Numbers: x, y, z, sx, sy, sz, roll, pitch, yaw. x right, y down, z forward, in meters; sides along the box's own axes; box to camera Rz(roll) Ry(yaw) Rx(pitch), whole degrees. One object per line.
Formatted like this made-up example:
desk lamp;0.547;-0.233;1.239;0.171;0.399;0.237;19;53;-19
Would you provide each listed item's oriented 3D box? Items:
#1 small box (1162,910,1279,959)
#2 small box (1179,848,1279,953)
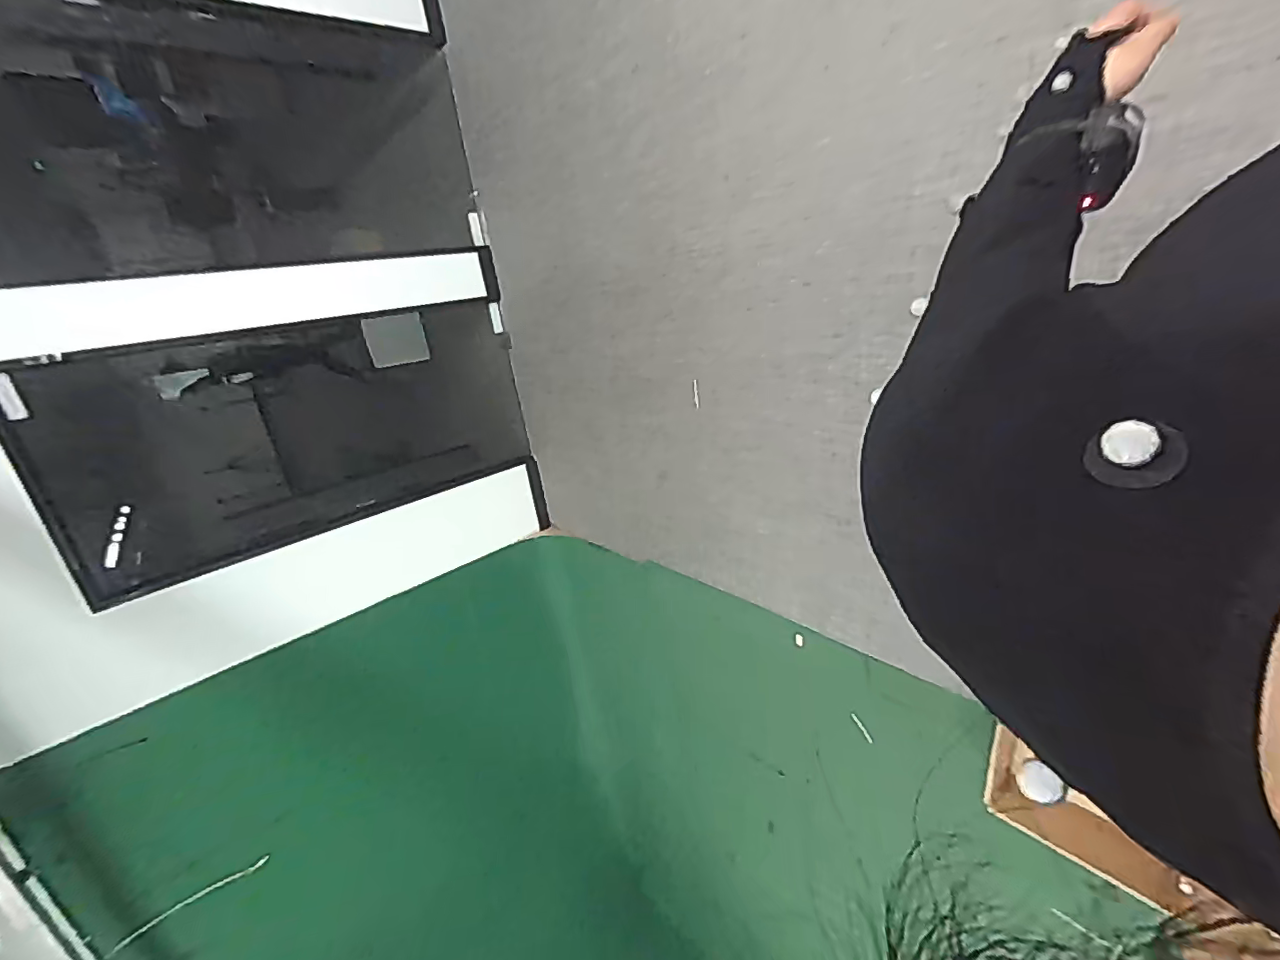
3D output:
small box;1.038;0.912;0.947;0.179;0.176;0.168;18;122;48
small box;1.171;0.866;1.035;0.179;0.176;0.168;19;122;48
